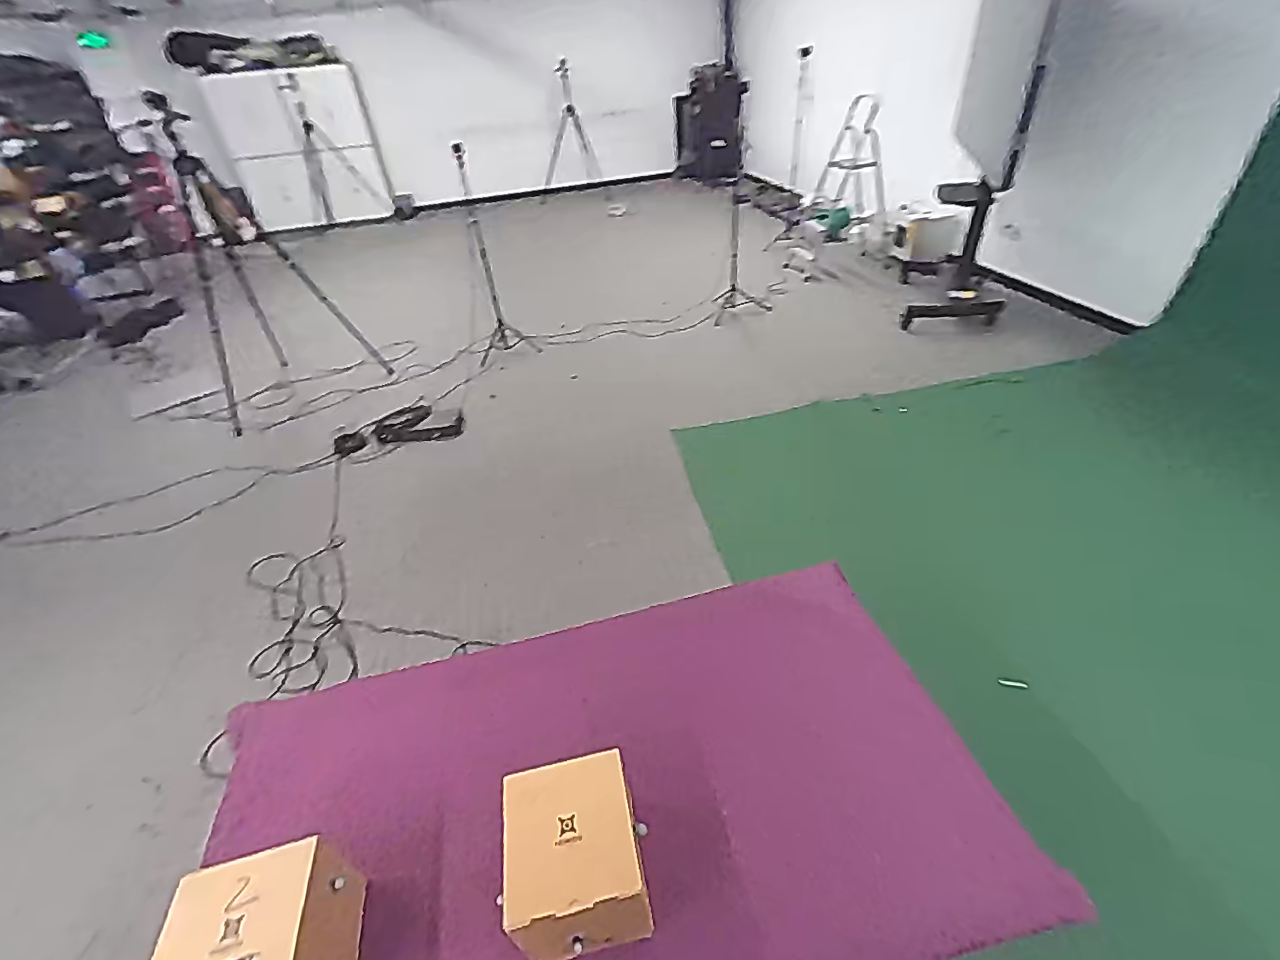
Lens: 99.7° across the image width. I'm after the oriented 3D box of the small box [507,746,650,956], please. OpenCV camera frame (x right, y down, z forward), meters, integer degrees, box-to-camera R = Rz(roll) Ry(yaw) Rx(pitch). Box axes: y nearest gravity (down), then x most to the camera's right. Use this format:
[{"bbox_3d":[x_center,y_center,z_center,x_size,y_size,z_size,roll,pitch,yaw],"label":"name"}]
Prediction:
[{"bbox_3d":[-0.085,0.507,0.744,0.168,0.176,0.179,-11,39,-7],"label":"small box"}]
